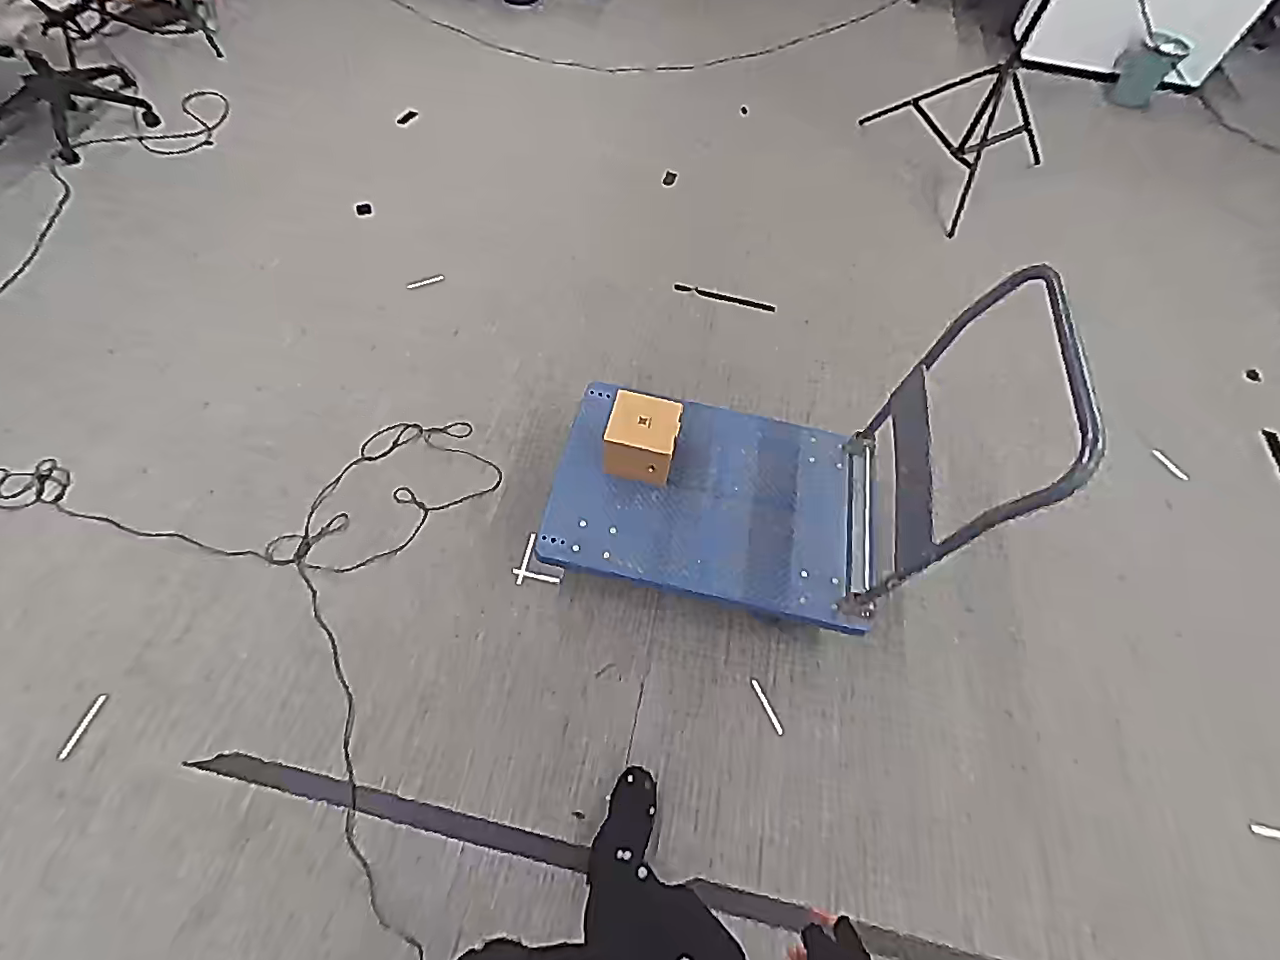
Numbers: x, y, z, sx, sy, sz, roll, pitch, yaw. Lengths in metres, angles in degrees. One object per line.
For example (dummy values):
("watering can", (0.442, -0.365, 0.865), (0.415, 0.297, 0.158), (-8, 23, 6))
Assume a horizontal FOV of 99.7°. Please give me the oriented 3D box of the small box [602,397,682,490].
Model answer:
("small box", (0.003, -0.091, 1.442), (0.179, 0.176, 0.168), (13, 59, 3))
